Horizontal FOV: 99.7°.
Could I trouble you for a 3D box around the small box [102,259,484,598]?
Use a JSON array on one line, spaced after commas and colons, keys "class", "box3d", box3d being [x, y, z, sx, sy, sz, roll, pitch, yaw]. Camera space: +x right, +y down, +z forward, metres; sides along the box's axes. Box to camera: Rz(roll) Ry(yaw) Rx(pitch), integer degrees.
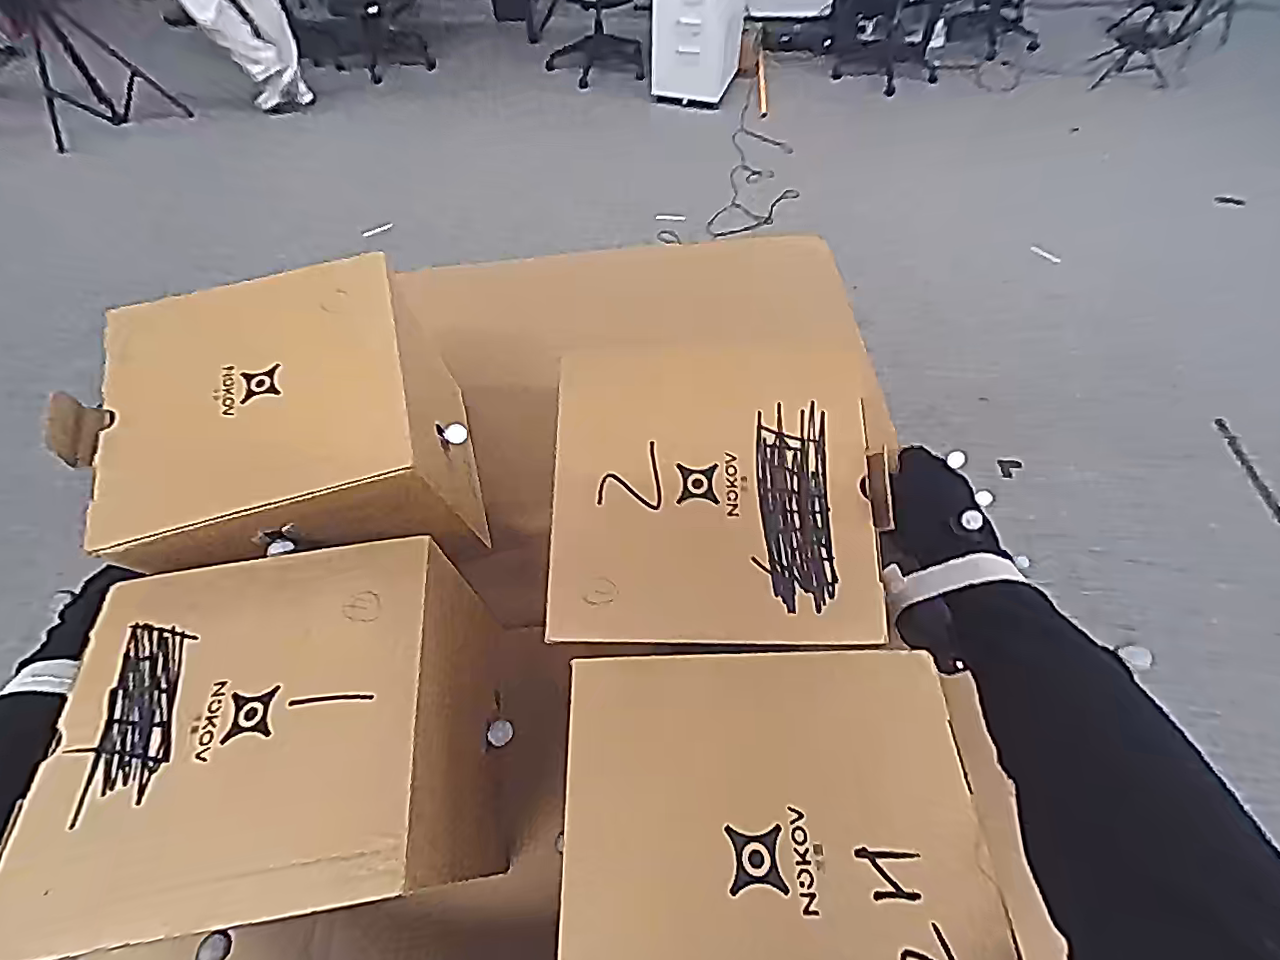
[{"class": "small box", "box3d": [-0.227, -0.026, 0.404, 0.179, 0.176, 0.168, -16, 66, -5]}]
